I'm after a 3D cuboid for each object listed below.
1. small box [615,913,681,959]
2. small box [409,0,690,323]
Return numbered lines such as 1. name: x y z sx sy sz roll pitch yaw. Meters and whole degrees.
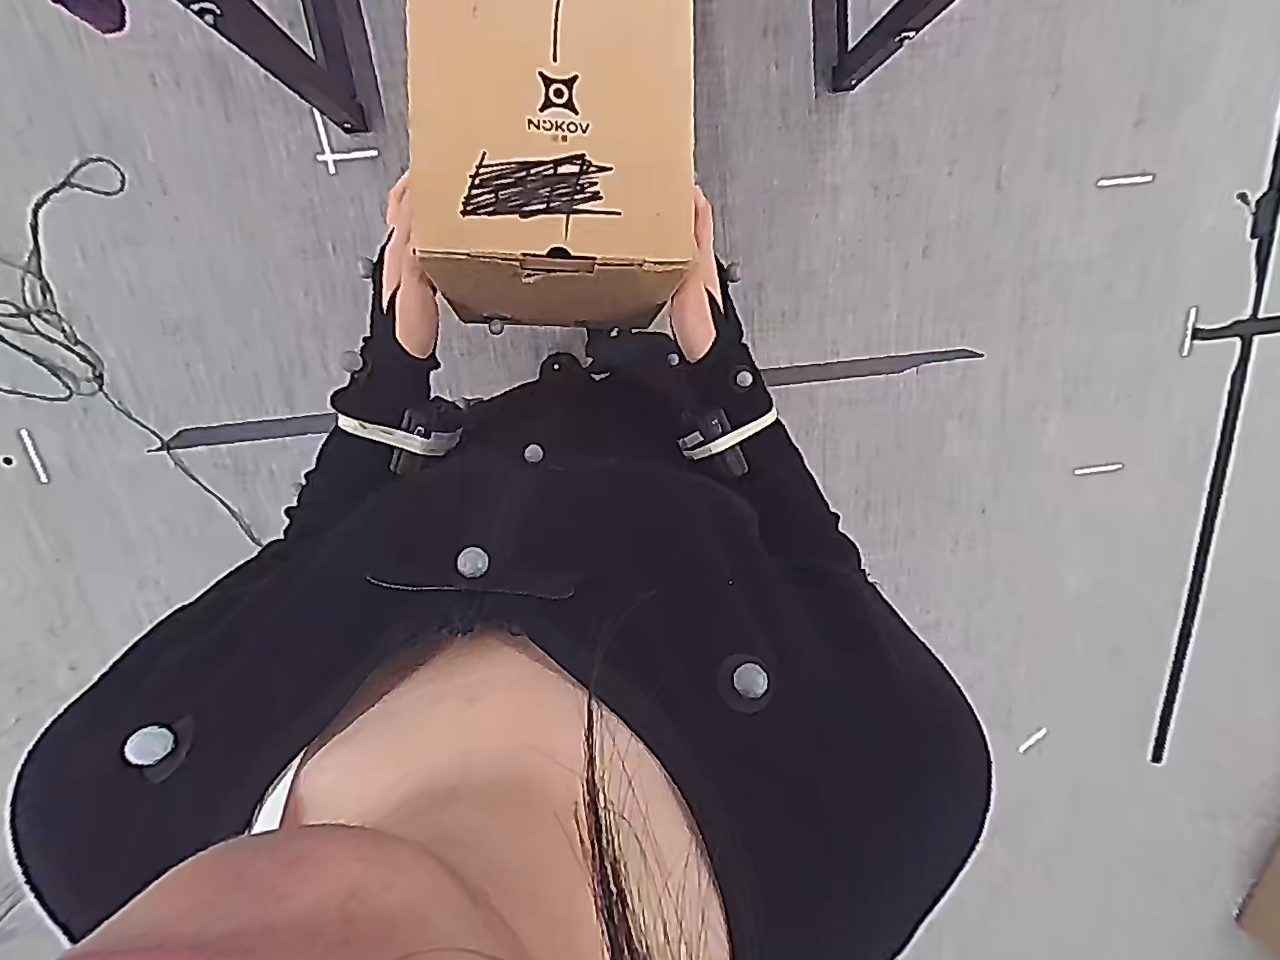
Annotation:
1. small box: 0.028 1.375 1.531 0.179 0.176 0.168 -8 106 -3
2. small box: -0.062 -0.222 0.398 0.168 0.176 0.179 0 91 -9
